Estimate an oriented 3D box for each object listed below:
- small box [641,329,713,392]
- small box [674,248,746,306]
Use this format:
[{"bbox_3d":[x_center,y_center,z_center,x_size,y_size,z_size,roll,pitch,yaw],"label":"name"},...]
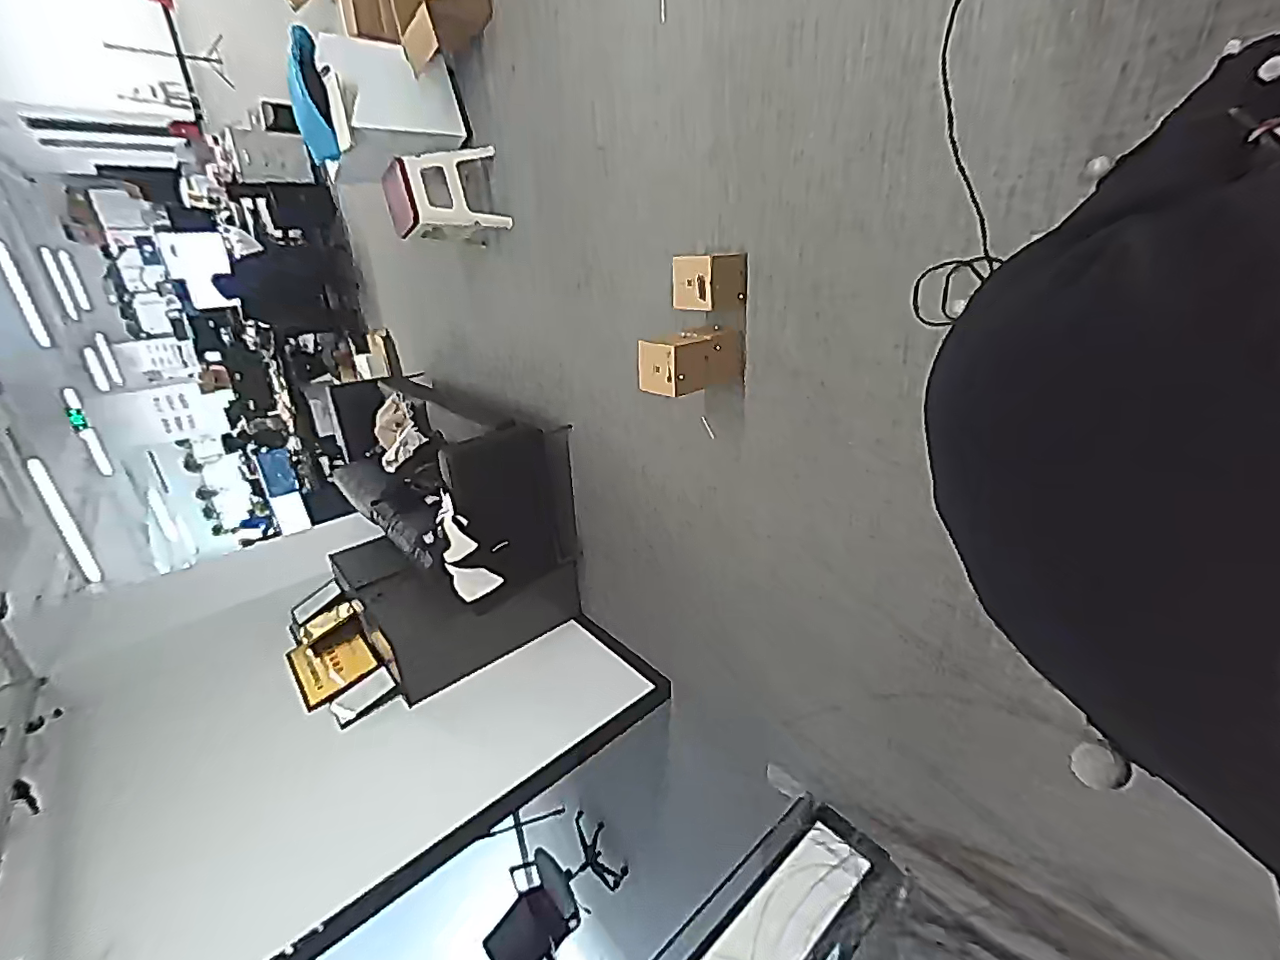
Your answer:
[{"bbox_3d":[0.121,-0.402,1.791,0.179,0.176,0.168,24,126,45],"label":"small box"},{"bbox_3d":[0.234,-0.674,1.784,0.179,0.176,0.168,23,125,46],"label":"small box"}]
